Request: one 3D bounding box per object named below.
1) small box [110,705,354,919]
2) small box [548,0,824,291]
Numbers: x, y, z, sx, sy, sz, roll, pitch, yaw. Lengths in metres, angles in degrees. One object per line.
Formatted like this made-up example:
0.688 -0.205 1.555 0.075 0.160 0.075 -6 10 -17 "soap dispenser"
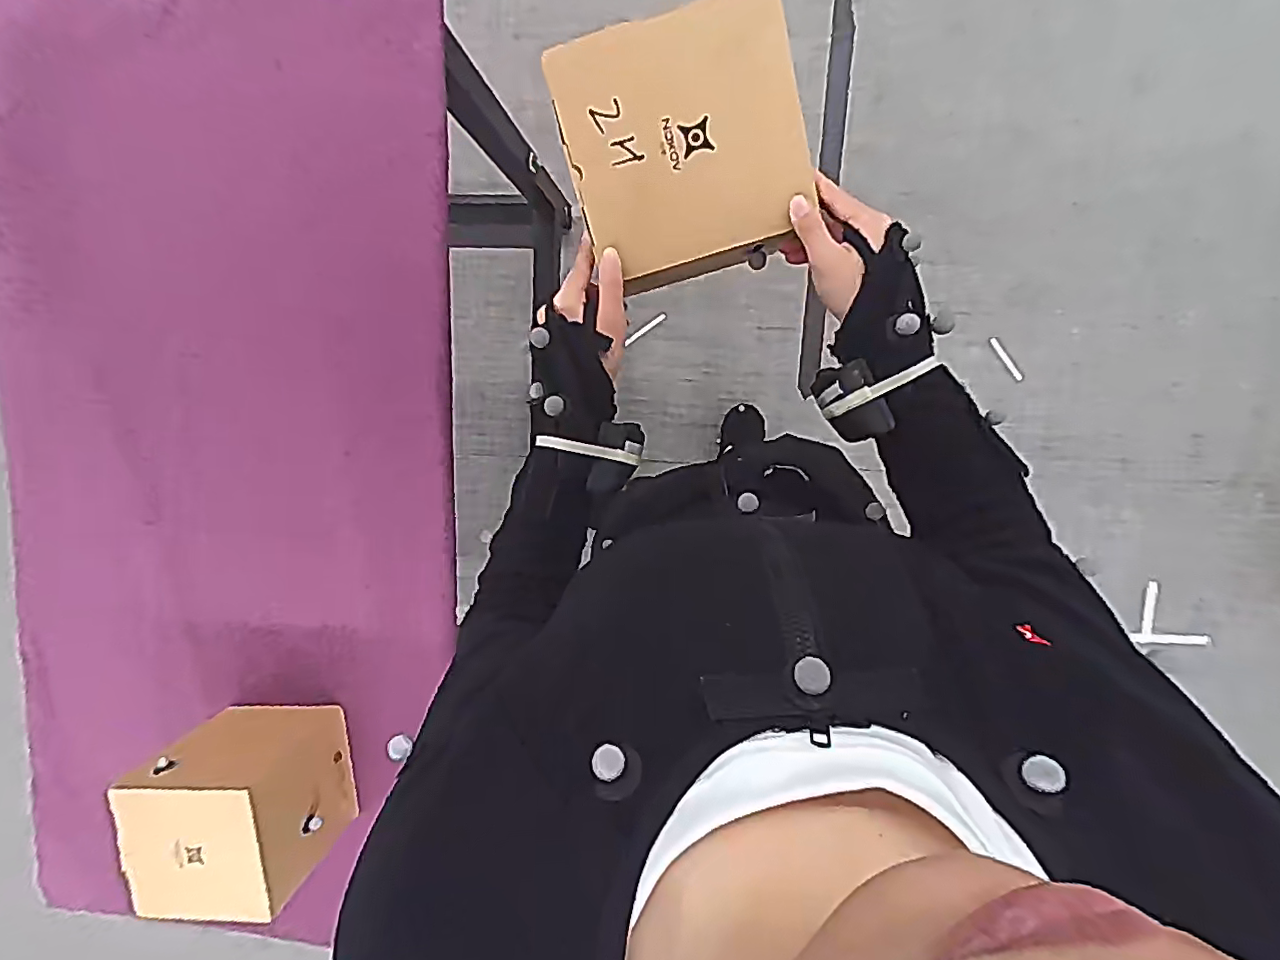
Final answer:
-0.489 0.402 0.681 0.179 0.176 0.168 -4 98 7 "small box"
0.037 -0.274 0.471 0.179 0.176 0.168 -14 104 5 "small box"
